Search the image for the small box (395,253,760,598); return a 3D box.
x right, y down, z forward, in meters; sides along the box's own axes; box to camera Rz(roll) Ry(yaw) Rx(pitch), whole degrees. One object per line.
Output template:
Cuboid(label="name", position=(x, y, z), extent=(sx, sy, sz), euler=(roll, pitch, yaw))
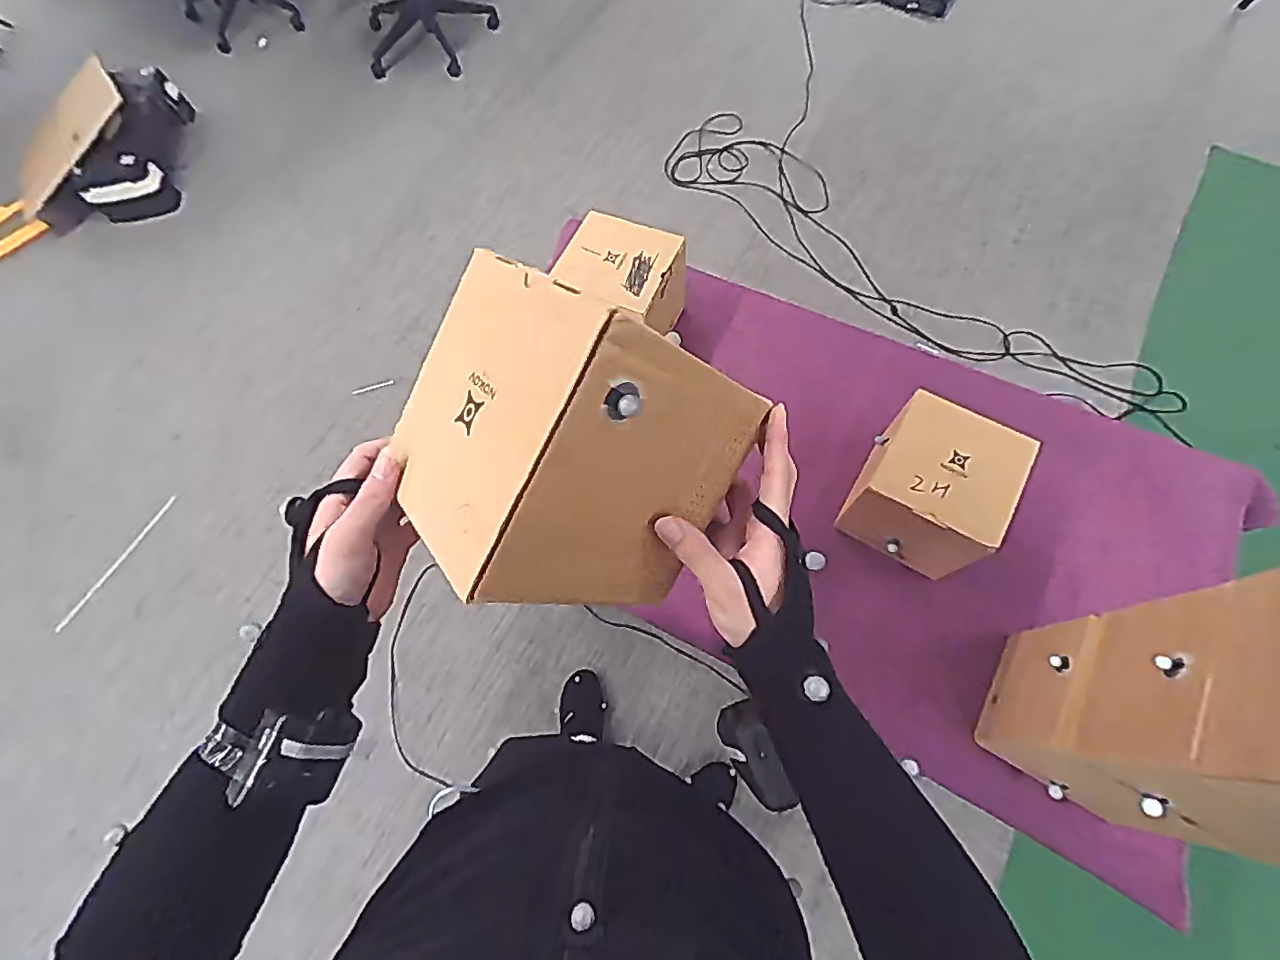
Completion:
Cuboid(label="small box", position=(-0.044, -0.030, 0.389), extent=(0.168, 0.176, 0.179), euler=(37, 105, 42))

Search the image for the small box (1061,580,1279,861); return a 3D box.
Cuboid(label="small box", position=(0.545, 0.224, 0.505), extent=(0.168, 0.176, 0.179), euler=(29, 71, 16))

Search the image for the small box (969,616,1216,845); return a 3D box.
Cuboid(label="small box", position=(0.549, 0.290, 0.654), extent=(0.179, 0.176, 0.168), euler=(30, 71, 14))

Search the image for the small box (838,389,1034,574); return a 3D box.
Cuboid(label="small box", position=(0.410, 0.009, 0.778), extent=(0.168, 0.176, 0.179), euler=(30, 73, 15))

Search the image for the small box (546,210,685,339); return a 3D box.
Cuboid(label="small box", position=(-0.034, -0.321, 0.935), extent=(0.179, 0.176, 0.168), euler=(22, 71, 12))
